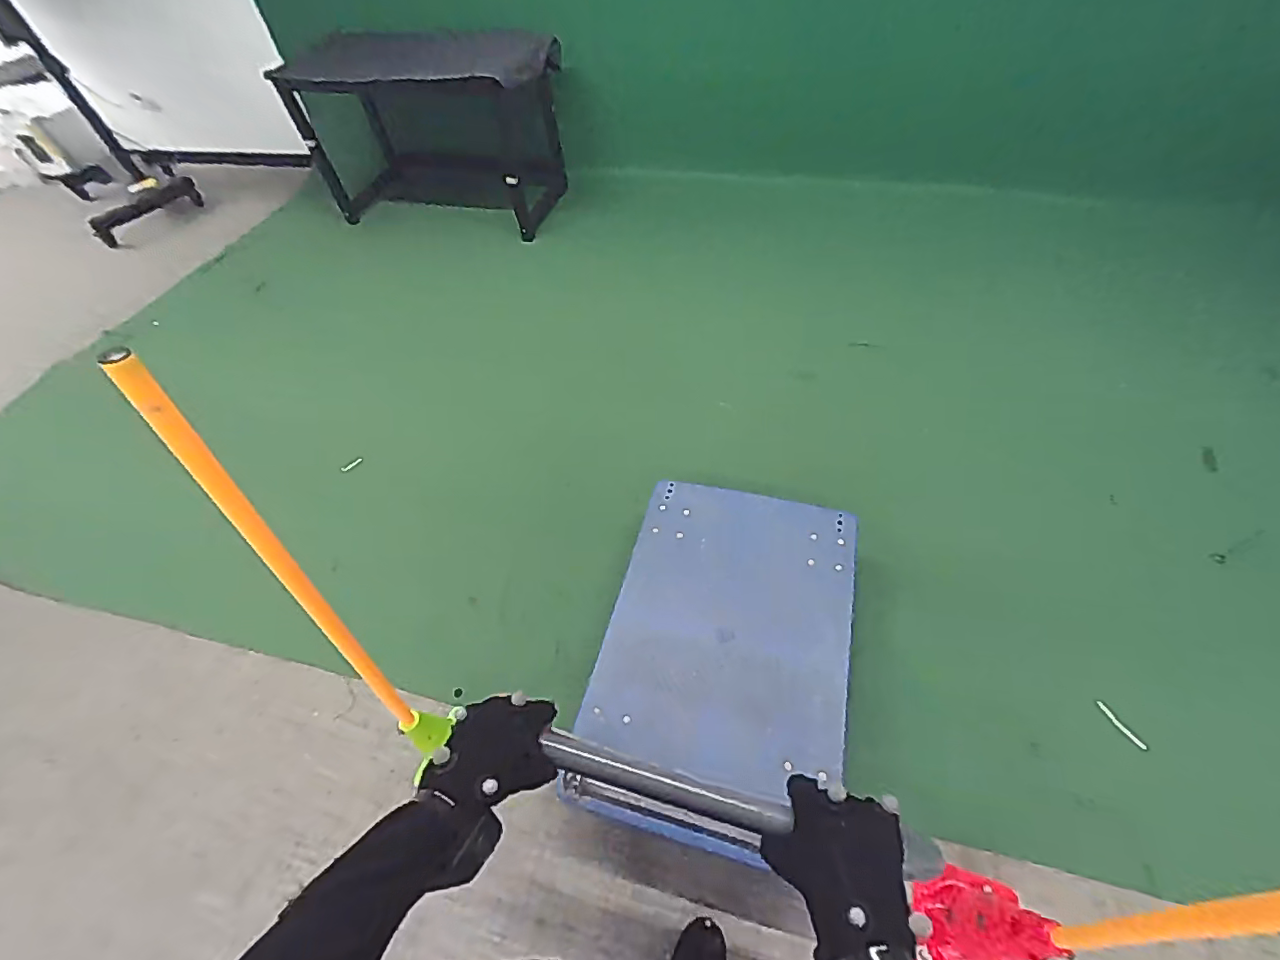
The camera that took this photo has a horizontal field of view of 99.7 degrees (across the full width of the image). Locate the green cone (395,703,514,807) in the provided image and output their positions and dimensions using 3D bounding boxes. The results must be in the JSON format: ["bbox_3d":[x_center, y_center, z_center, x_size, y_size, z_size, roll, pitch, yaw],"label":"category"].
[{"bbox_3d":[-0.453,0.576,1.223,0.202,0.368,0.200,13,54,16],"label":"green cone"}]
